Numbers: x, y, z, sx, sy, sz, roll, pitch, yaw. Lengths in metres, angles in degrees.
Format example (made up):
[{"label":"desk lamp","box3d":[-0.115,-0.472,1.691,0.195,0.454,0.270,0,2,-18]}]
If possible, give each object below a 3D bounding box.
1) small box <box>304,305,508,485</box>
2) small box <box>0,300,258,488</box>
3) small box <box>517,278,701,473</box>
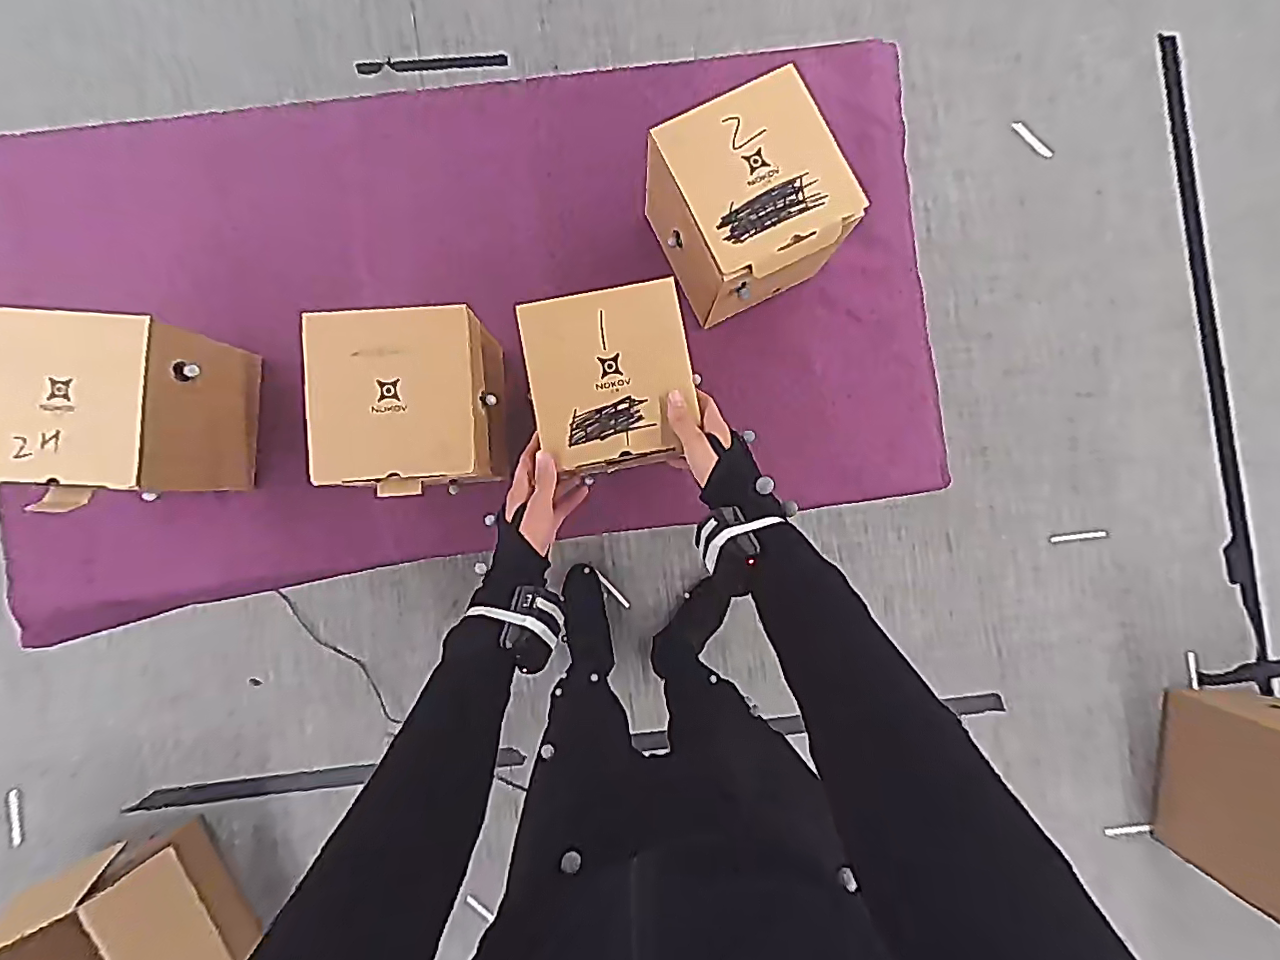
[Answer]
[{"label":"small box","box3d":[-0.252,-0.086,0.619,0.168,0.176,0.179,-3,89,-2]},{"label":"small box","box3d":[-0.569,-0.084,0.609,0.168,0.176,0.179,4,89,-1]},{"label":"small box","box3d":[-0.032,-0.105,0.623,0.168,0.176,0.179,-10,88,-2]}]
